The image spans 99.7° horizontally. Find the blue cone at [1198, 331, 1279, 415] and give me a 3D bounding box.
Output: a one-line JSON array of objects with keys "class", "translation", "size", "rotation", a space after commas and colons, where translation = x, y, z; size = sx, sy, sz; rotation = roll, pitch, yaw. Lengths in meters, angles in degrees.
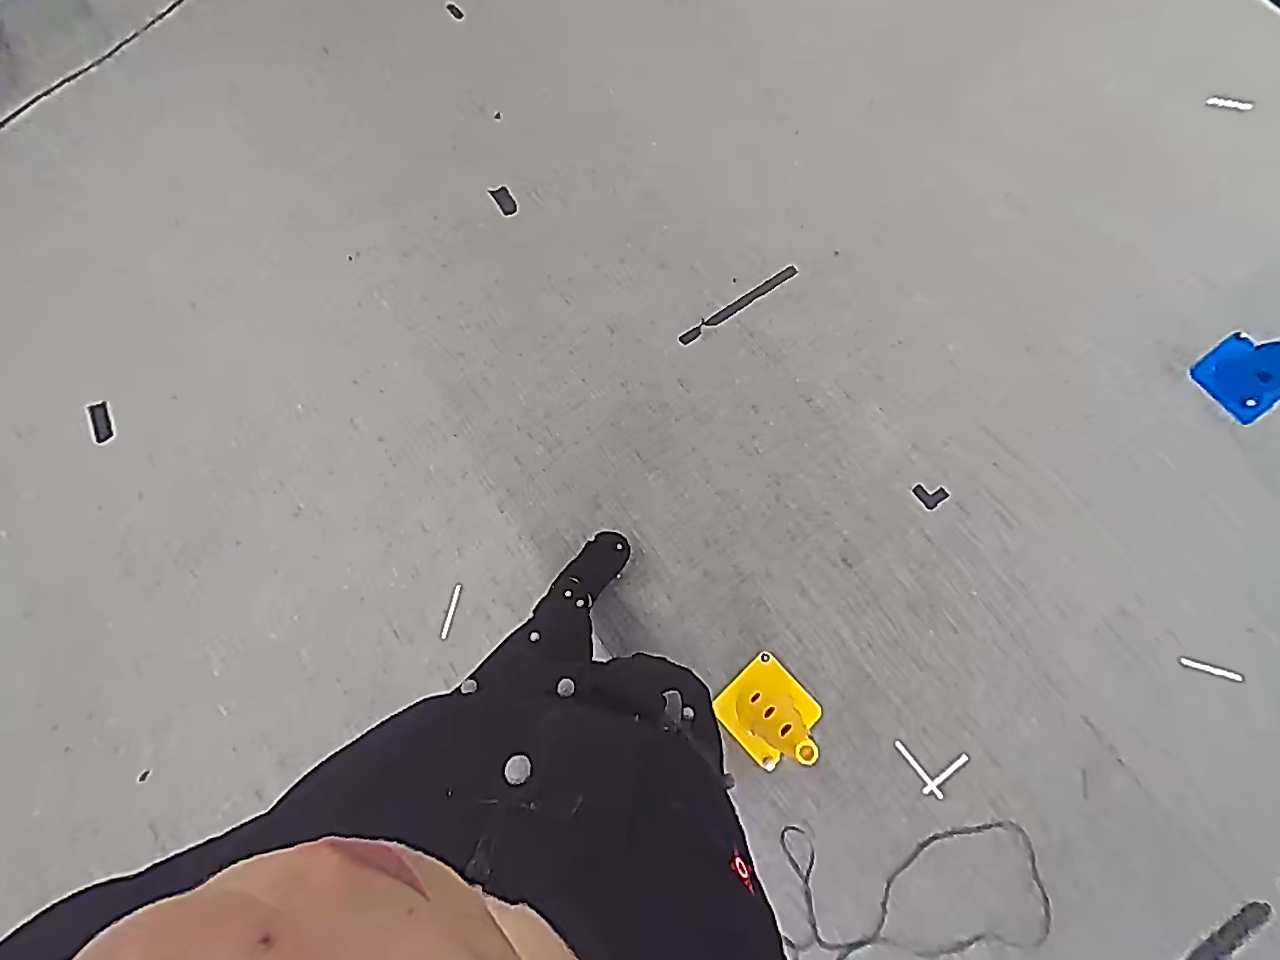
[{"class": "blue cone", "translation": [1.590, -0.316, 1.260], "size": [0.193, 0.380, 0.192], "rotation": [-35, 78, -6]}]
